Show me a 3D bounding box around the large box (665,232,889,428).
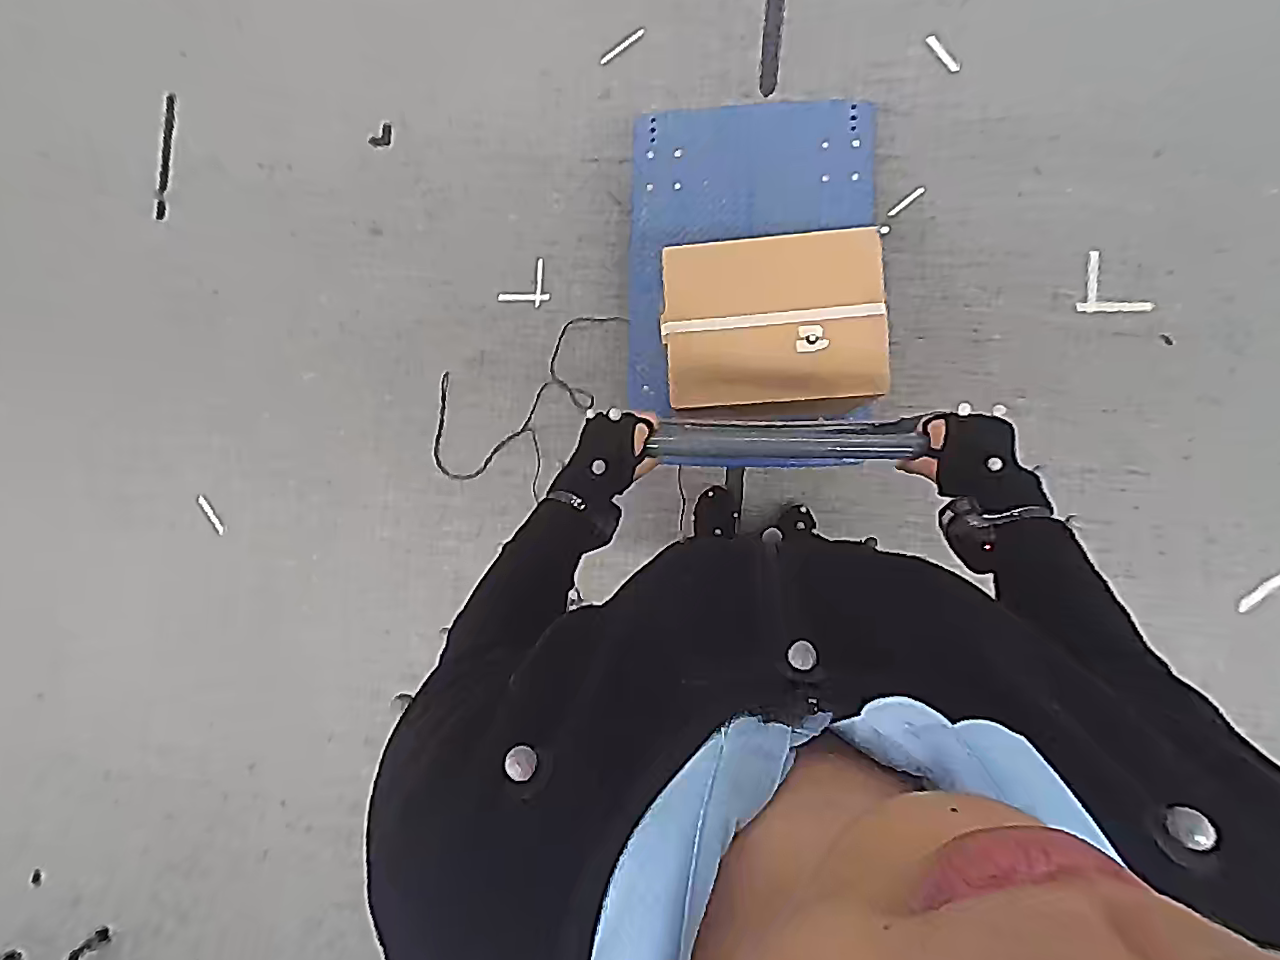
[{"bbox_3d":[0.269,-0.295,1.171,0.408,0.320,0.320,-3,90,6],"label":"large box"}]
